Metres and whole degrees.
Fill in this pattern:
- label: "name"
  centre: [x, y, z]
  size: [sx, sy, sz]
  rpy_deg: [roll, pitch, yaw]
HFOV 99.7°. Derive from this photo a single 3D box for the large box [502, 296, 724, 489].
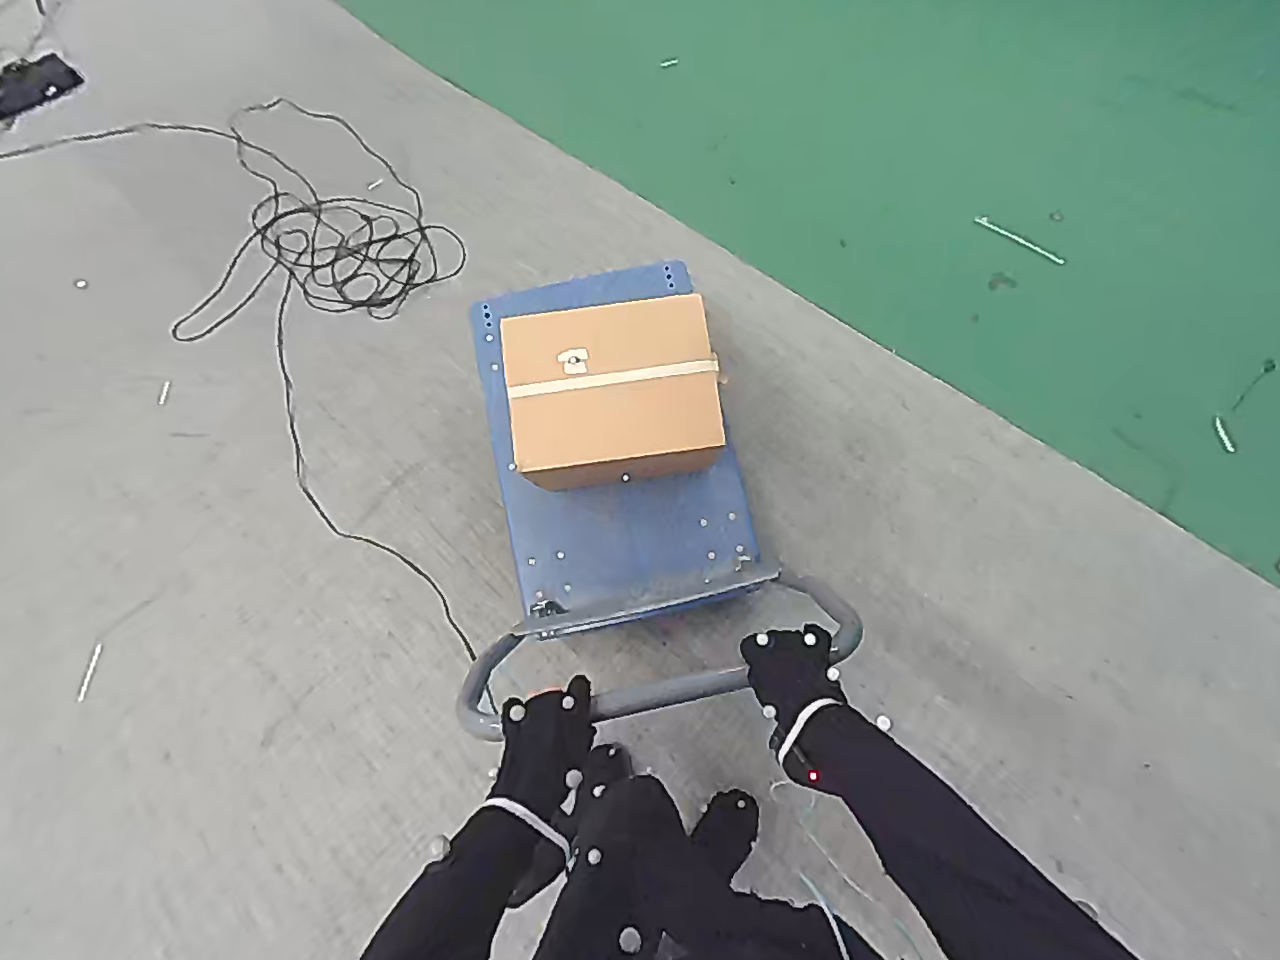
- label: "large box"
  centre: [-0.051, -0.168, 1.194]
  size: [0.408, 0.320, 0.320]
  rpy_deg: [-8, 82, 0]
